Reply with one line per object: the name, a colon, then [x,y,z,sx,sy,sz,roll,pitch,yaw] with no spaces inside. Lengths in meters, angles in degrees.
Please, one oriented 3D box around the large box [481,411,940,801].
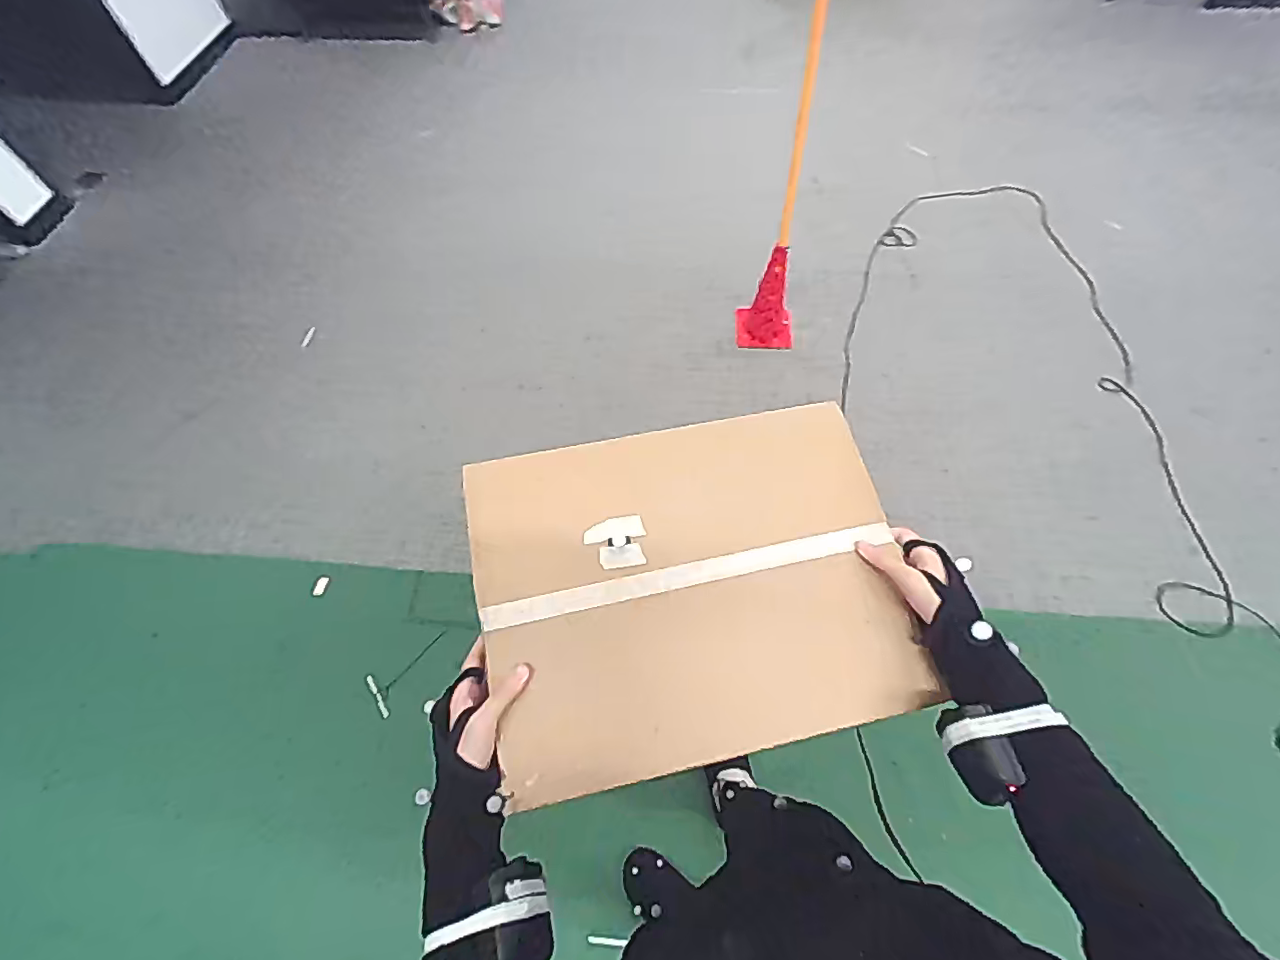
large box: [0.054,0.148,0.669,0.408,0.320,0.320,-10,70,-6]
